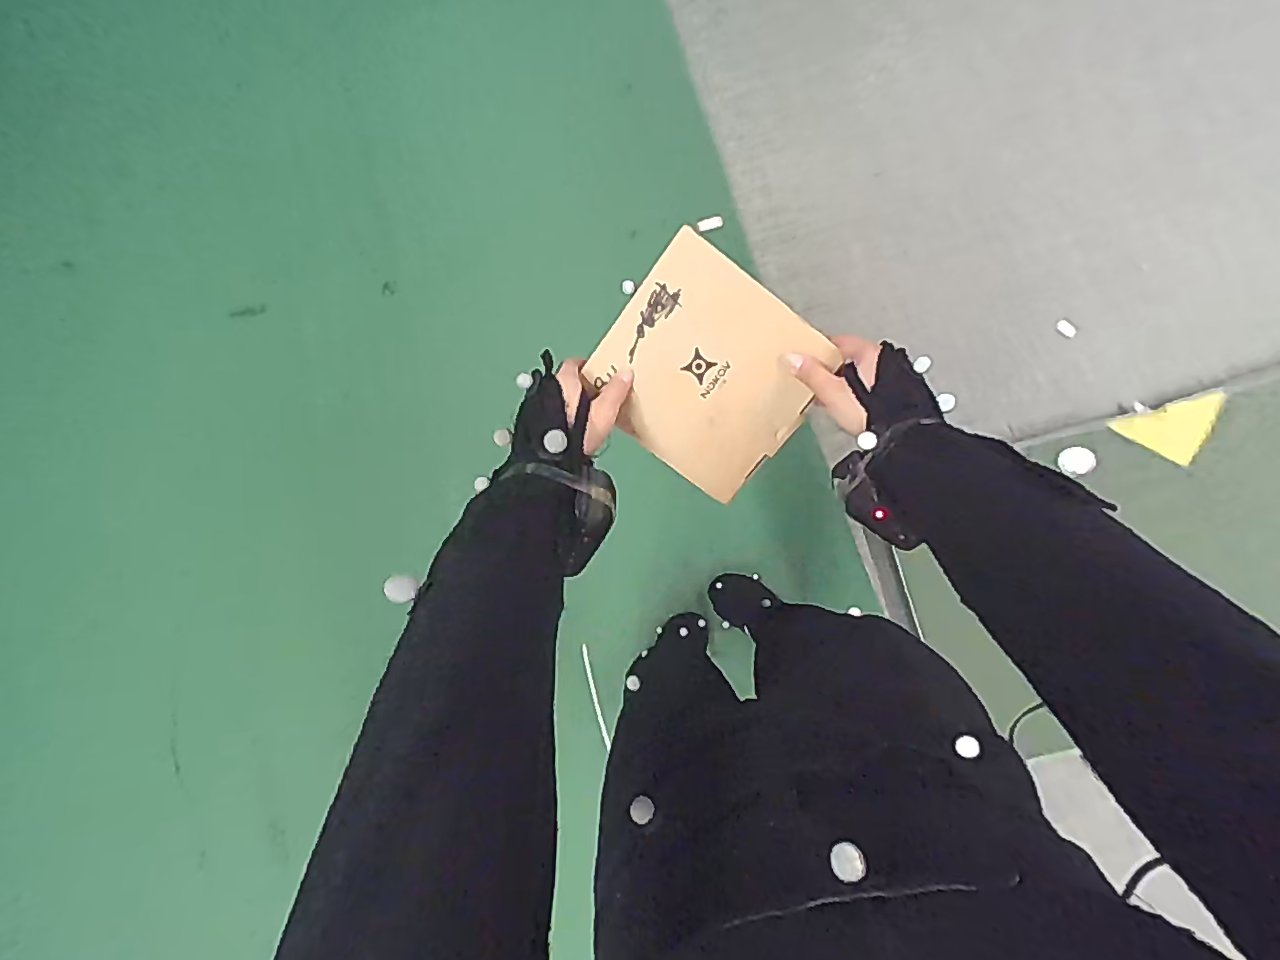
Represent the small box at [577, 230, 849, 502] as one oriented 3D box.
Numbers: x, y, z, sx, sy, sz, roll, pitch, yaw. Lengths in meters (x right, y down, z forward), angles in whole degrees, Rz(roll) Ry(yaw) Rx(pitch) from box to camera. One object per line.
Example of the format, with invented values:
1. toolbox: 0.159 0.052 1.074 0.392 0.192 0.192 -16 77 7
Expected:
1. small box: 0.064 -0.111 0.537 0.179 0.176 0.168 38 102 -7
